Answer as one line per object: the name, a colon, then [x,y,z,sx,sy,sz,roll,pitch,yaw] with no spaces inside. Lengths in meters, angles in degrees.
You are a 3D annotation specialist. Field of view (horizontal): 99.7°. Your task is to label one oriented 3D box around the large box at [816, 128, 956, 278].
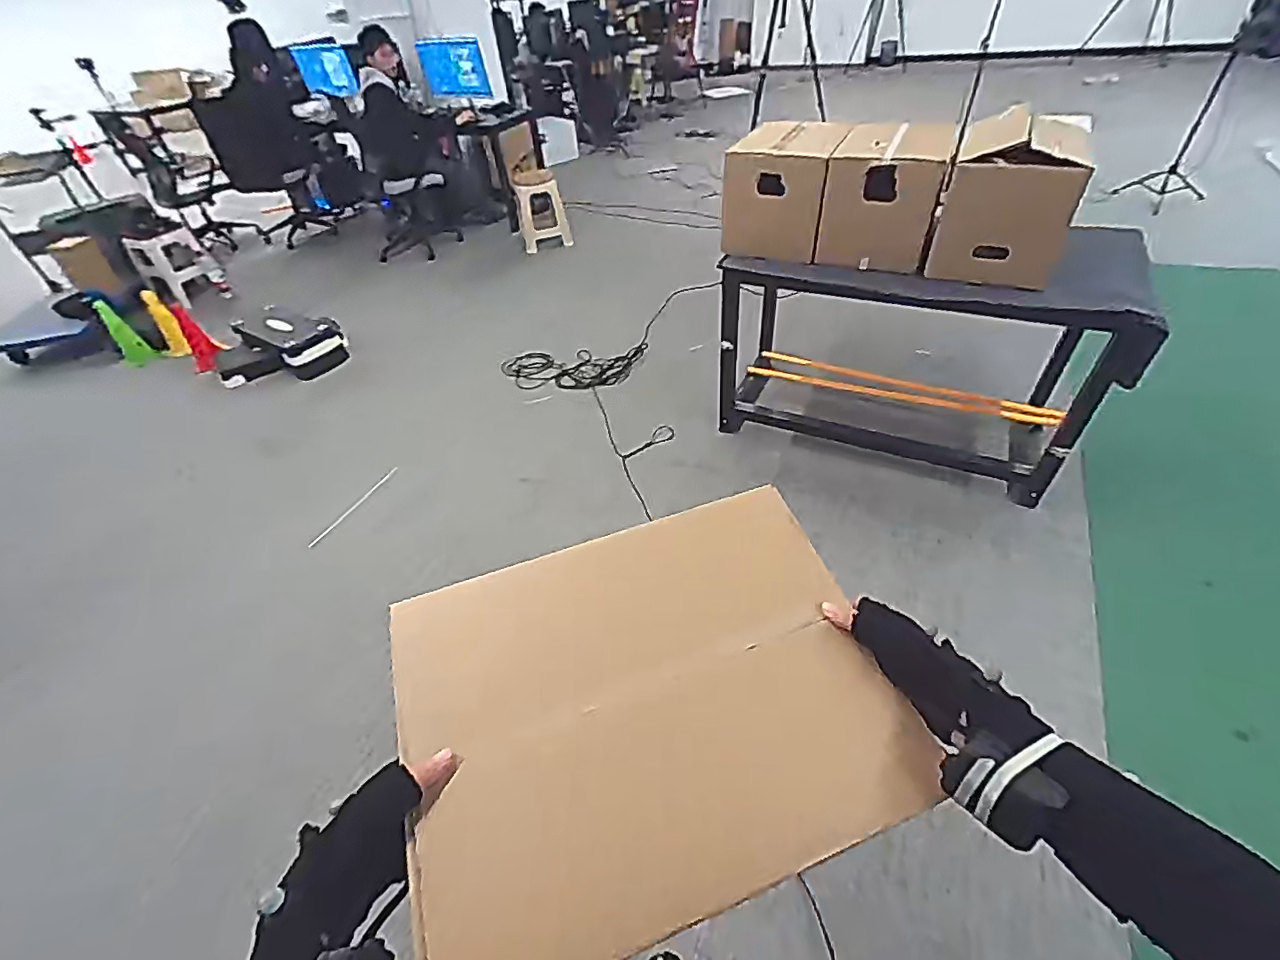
large box: [0.776,-0.887,1.718,0.320,0.320,0.408,15,48,22]
